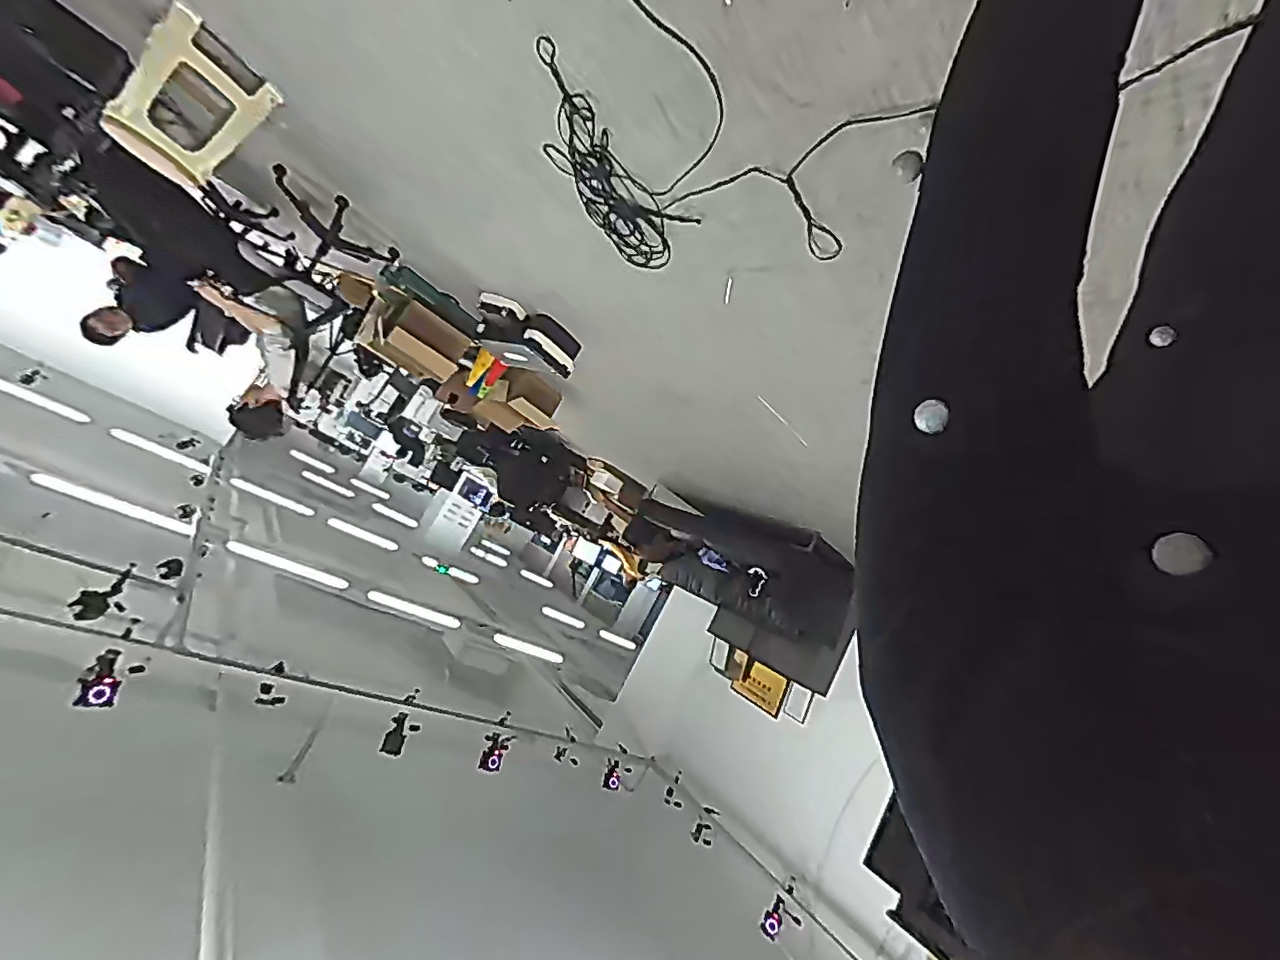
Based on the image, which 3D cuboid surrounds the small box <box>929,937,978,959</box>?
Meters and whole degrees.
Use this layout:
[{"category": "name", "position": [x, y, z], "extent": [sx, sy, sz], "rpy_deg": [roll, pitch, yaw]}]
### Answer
[{"category": "small box", "position": [0.937, 1.489, 1.579], "extent": [0.168, 0.176, 0.179], "rpy_deg": [19, 166, 47]}]
